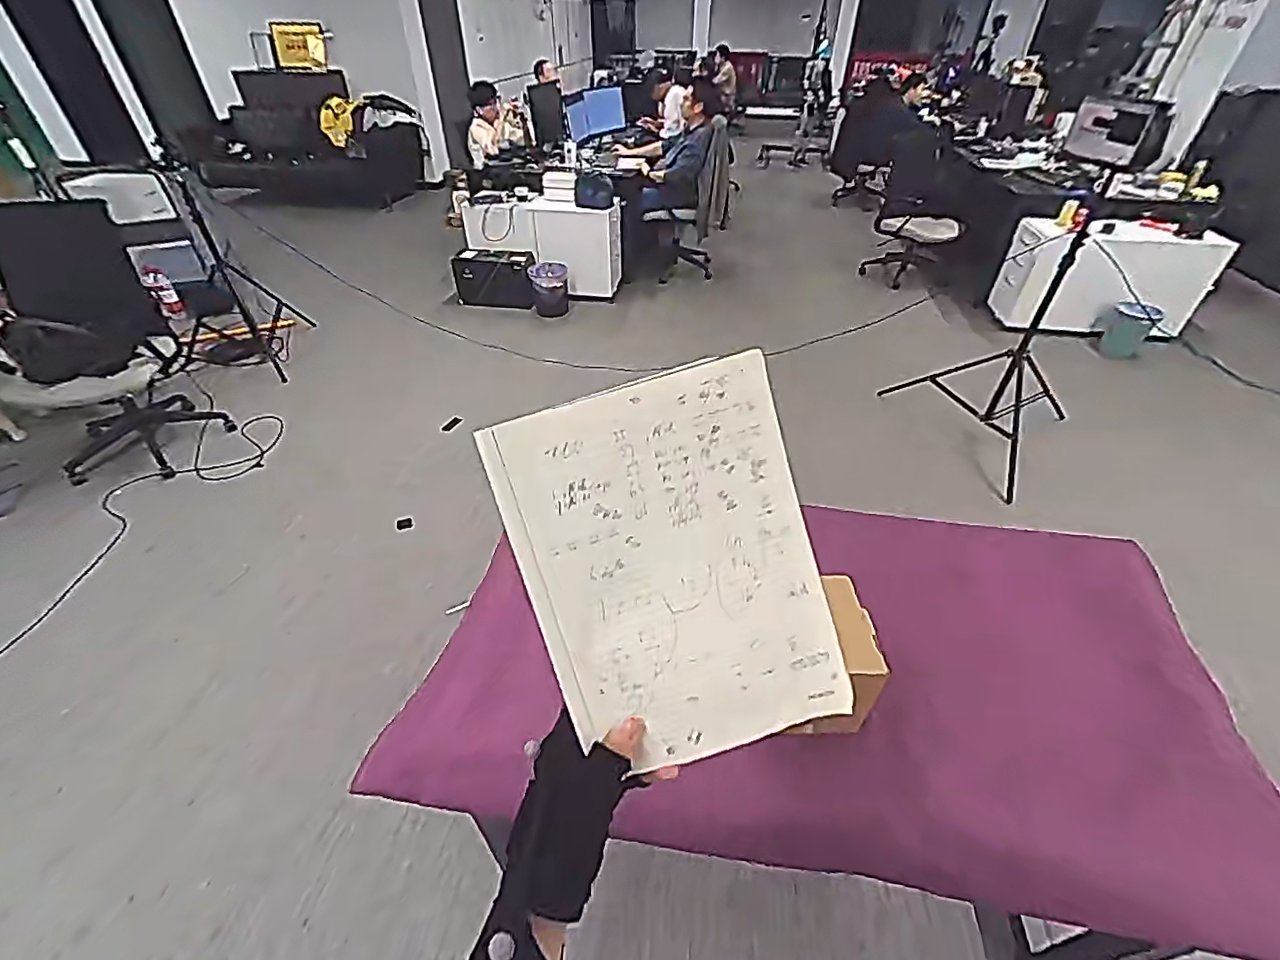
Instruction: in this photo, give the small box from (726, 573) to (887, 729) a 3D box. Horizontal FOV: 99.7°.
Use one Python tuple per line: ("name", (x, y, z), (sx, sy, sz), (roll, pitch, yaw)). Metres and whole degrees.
("small box", (0.236, 0.258, 0.816), (0.179, 0.176, 0.168), (-1, 39, -2))
